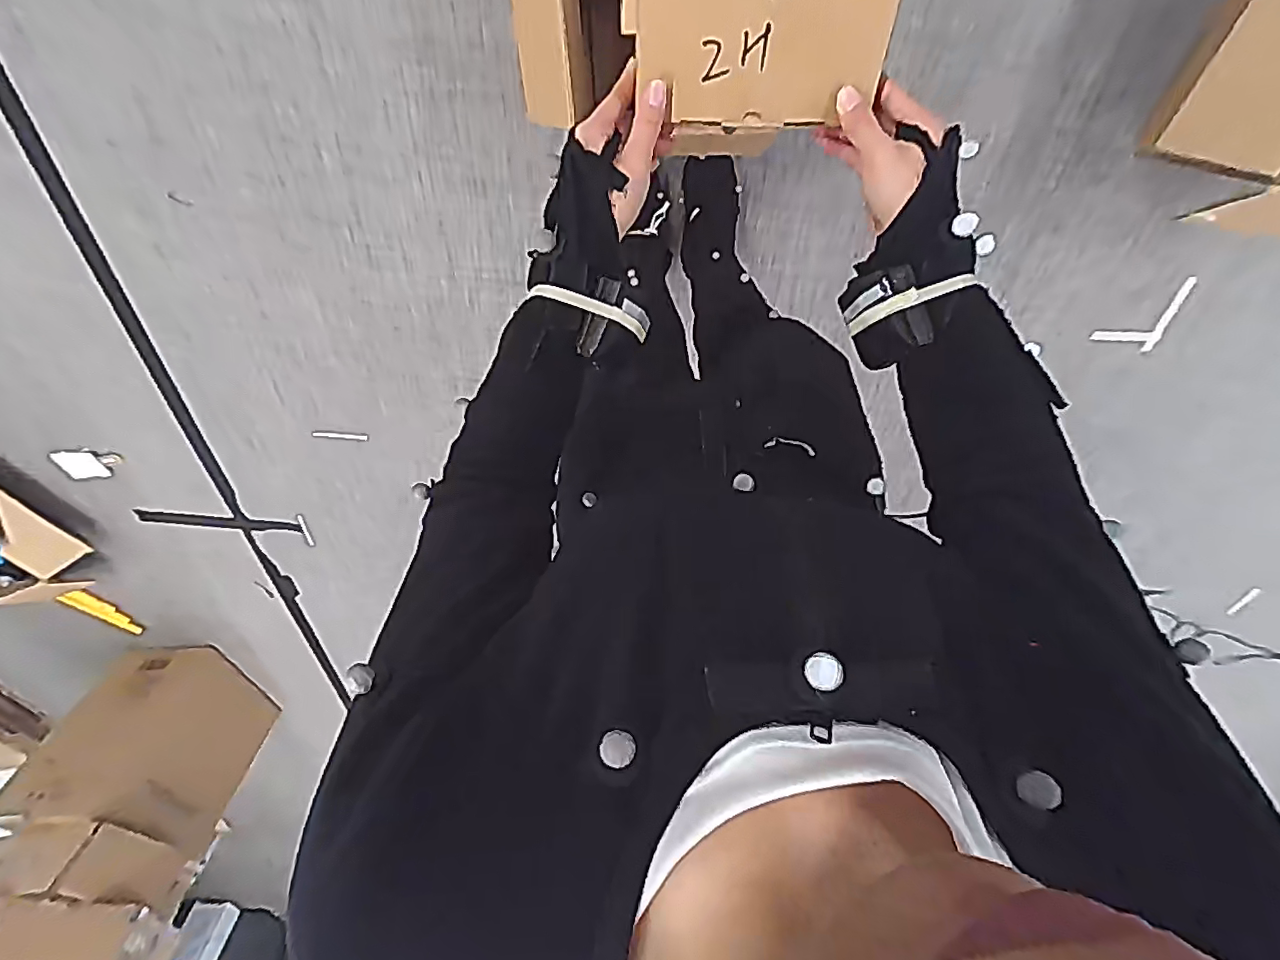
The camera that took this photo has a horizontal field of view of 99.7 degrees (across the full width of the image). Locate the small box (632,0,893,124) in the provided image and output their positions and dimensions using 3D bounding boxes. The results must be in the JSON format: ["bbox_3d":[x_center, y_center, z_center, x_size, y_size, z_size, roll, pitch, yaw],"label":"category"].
[{"bbox_3d":[0.078,-0.371,0.390,0.168,0.176,0.179,1,129,0],"label":"small box"}]
